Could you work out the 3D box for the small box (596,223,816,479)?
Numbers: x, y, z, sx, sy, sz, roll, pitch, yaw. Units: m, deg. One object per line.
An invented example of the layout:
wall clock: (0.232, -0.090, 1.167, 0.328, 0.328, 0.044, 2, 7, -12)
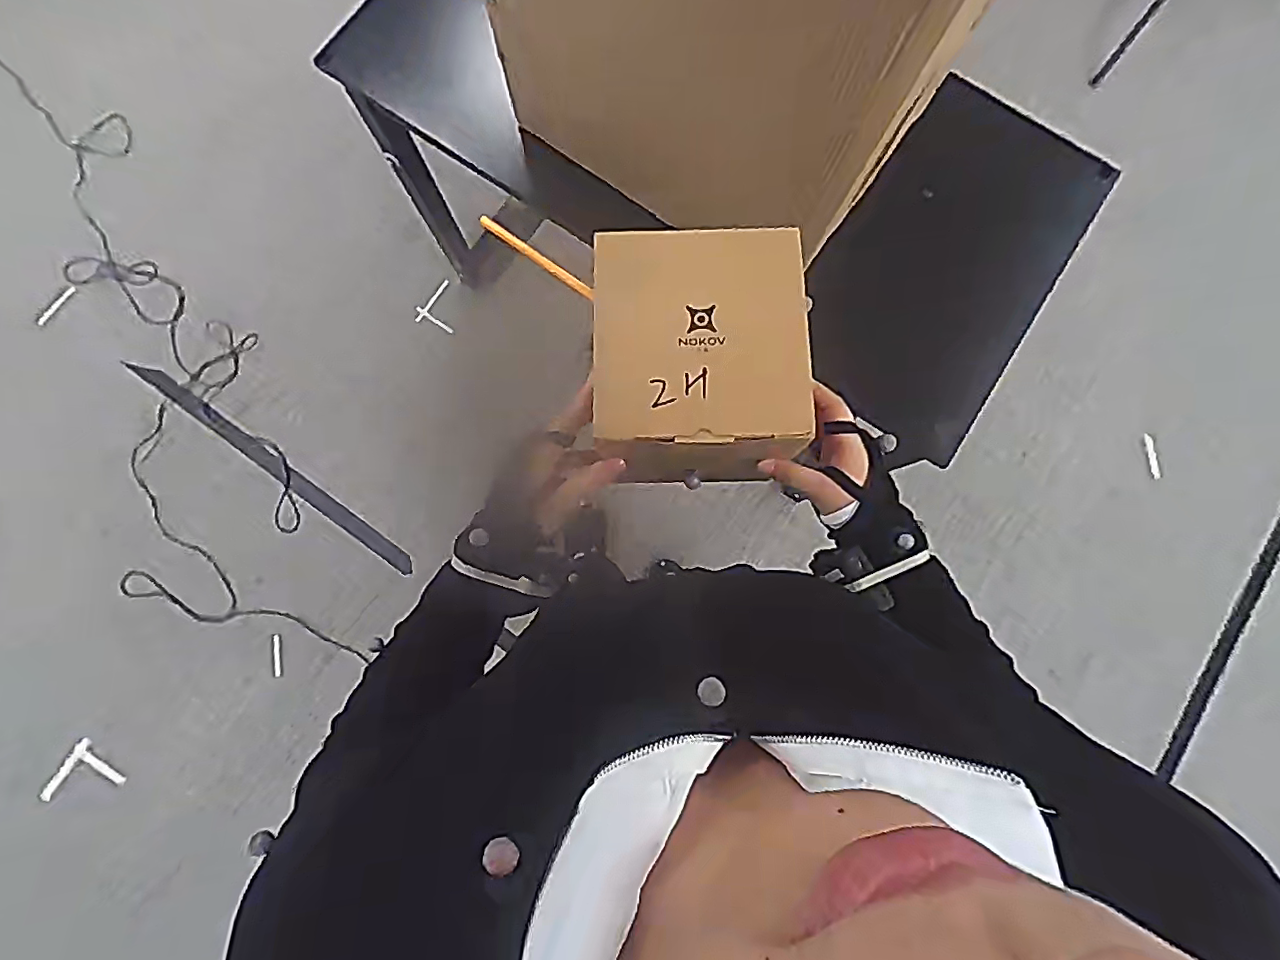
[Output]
small box: (0.050, -0.104, 0.492, 0.168, 0.176, 0.179, 0, 79, 1)
